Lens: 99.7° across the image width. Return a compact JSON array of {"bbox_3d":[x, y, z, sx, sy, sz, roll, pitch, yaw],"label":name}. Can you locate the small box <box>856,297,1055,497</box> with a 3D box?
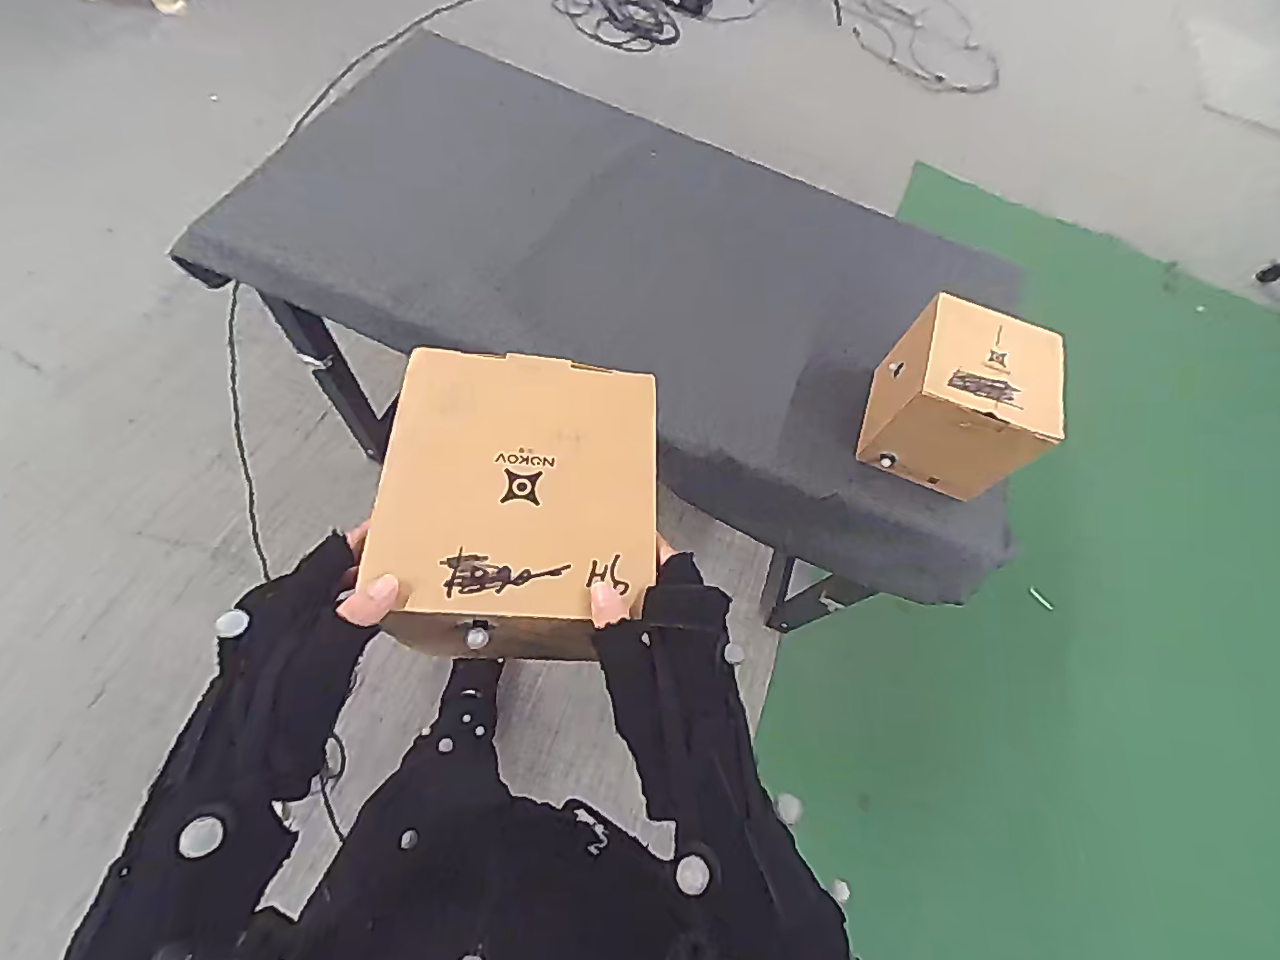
[{"bbox_3d":[0.415,-0.103,0.729,0.168,0.176,0.179,22,62,4],"label":"small box"}]

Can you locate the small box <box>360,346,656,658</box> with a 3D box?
[{"bbox_3d":[-0.085,0.028,0.413,0.168,0.176,0.179,5,63,-7],"label":"small box"}]
